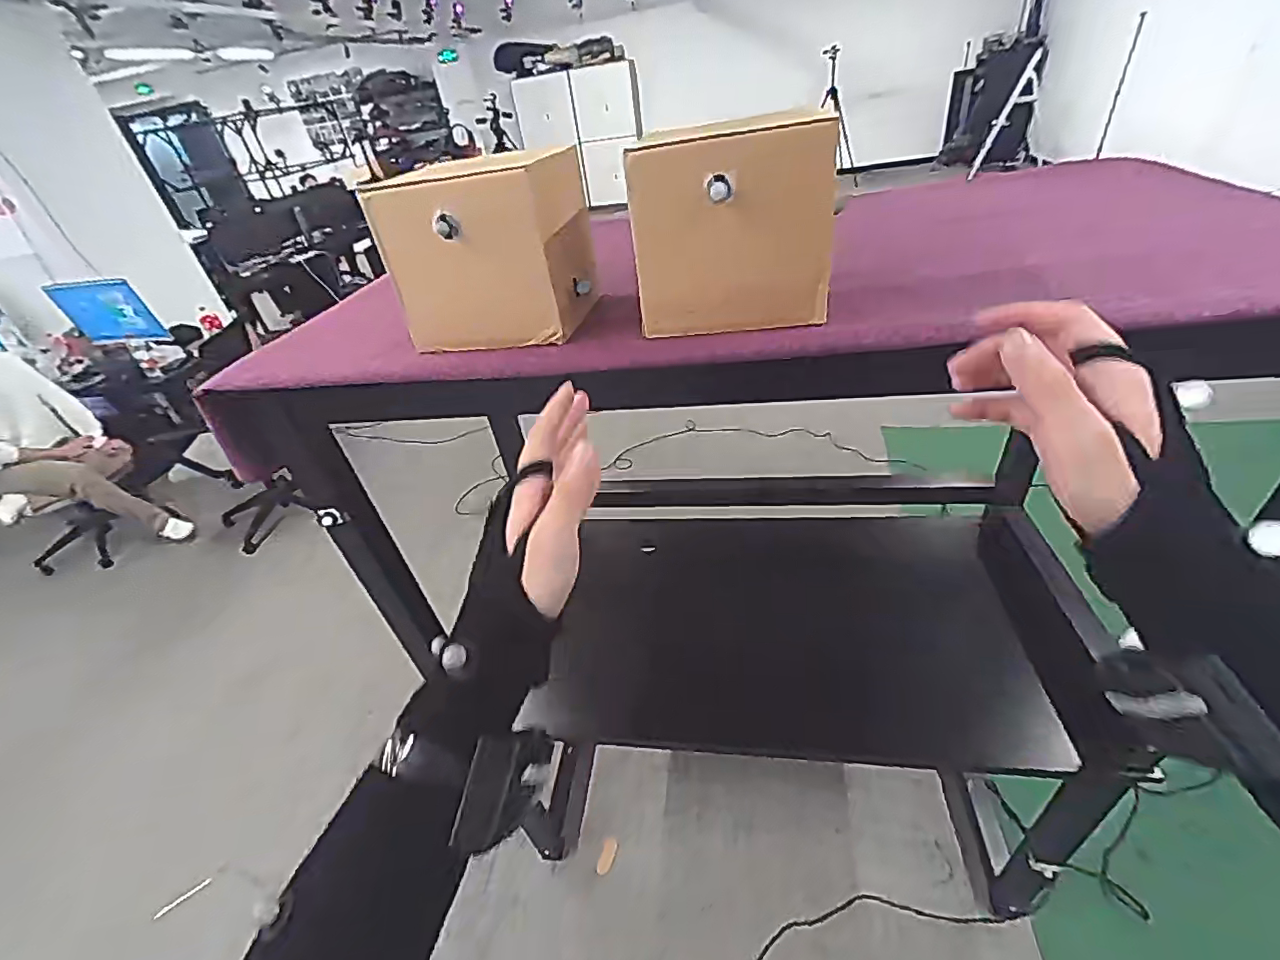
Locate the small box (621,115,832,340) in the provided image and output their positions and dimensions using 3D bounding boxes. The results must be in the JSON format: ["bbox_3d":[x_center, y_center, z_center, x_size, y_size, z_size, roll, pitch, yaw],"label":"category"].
[{"bbox_3d":[0.091,-0.257,0.555,0.179,0.176,0.168,-3,35,12],"label":"small box"}]

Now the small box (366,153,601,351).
[{"bbox_3d":[-0.157,-0.252,0.608,0.179,0.176,0.168,1,37,13],"label":"small box"}]
